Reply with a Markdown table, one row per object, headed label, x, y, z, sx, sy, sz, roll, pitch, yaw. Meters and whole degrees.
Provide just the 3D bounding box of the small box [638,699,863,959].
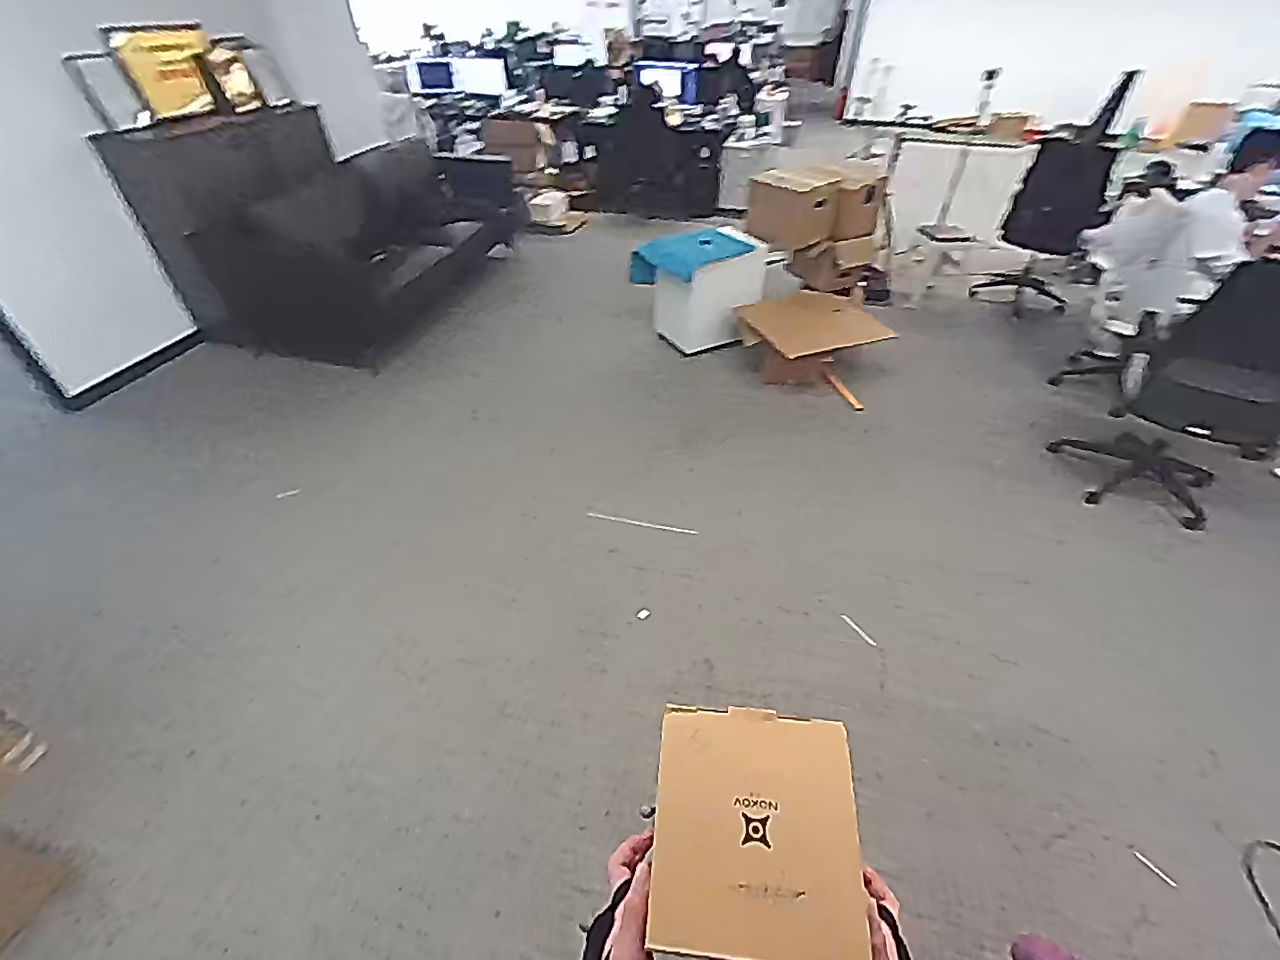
| label | x | y | z | sx | sy | sz | roll | pitch | yaw |
| --- | --- | --- | --- | --- | --- | --- | --- | --- | --- |
| small box | 0.090 | 0.324 | 0.505 | 0.168 | 0.176 | 0.179 | 3 | 53 | 6 |
